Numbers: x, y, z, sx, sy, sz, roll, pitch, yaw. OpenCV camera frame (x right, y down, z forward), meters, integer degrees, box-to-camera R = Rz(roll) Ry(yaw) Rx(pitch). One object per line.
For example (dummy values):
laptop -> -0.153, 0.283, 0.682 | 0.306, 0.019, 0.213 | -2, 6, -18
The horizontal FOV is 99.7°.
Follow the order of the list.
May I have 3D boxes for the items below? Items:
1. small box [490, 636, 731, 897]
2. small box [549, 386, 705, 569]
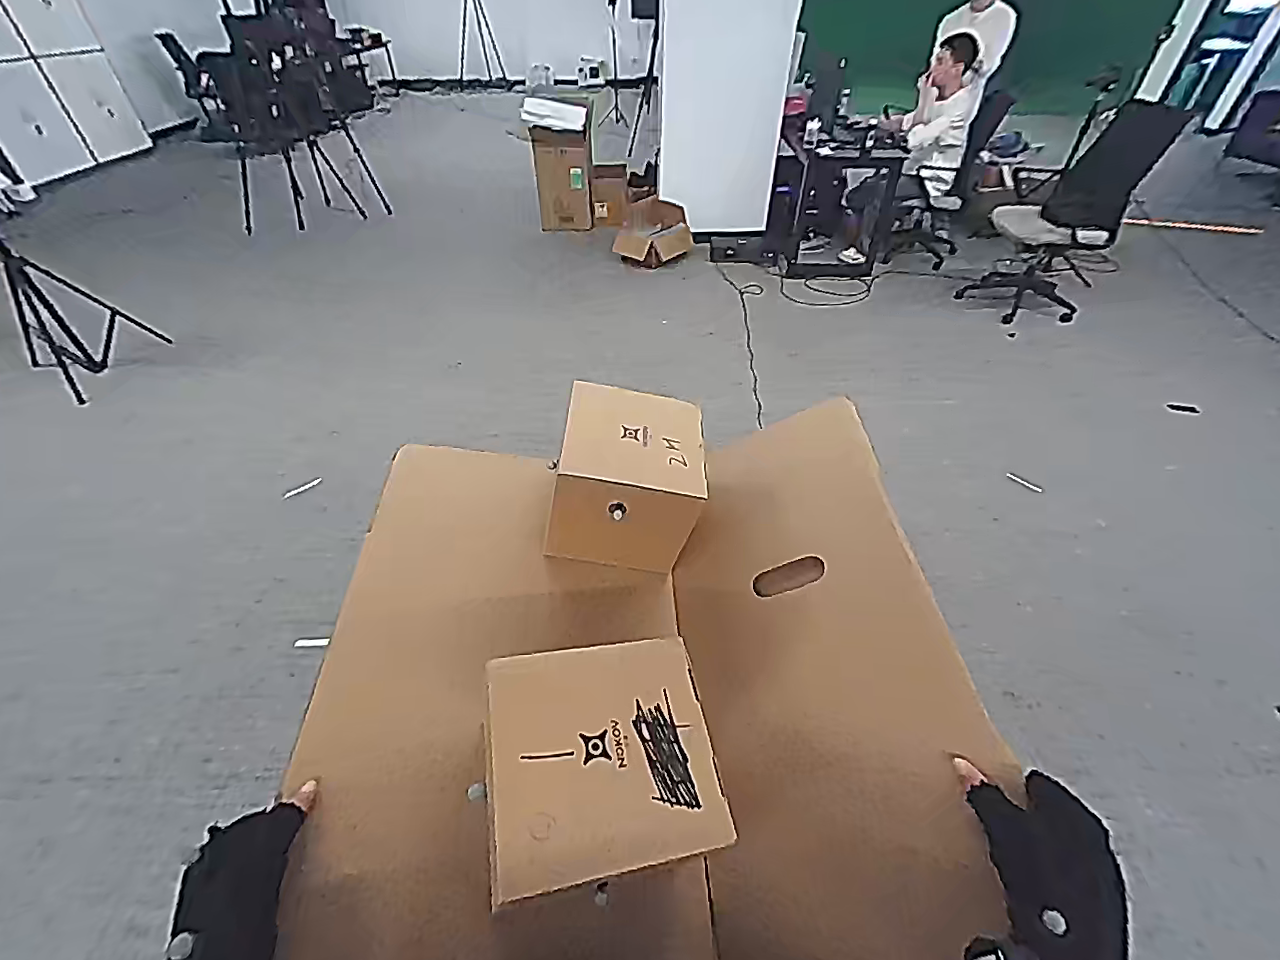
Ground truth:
small box -> -0.044, 0.261, 0.498 | 0.179, 0.176, 0.168 | -1, 51, -17
small box -> -0.021, 0.002, 0.732 | 0.179, 0.176, 0.168 | 11, 48, -9
